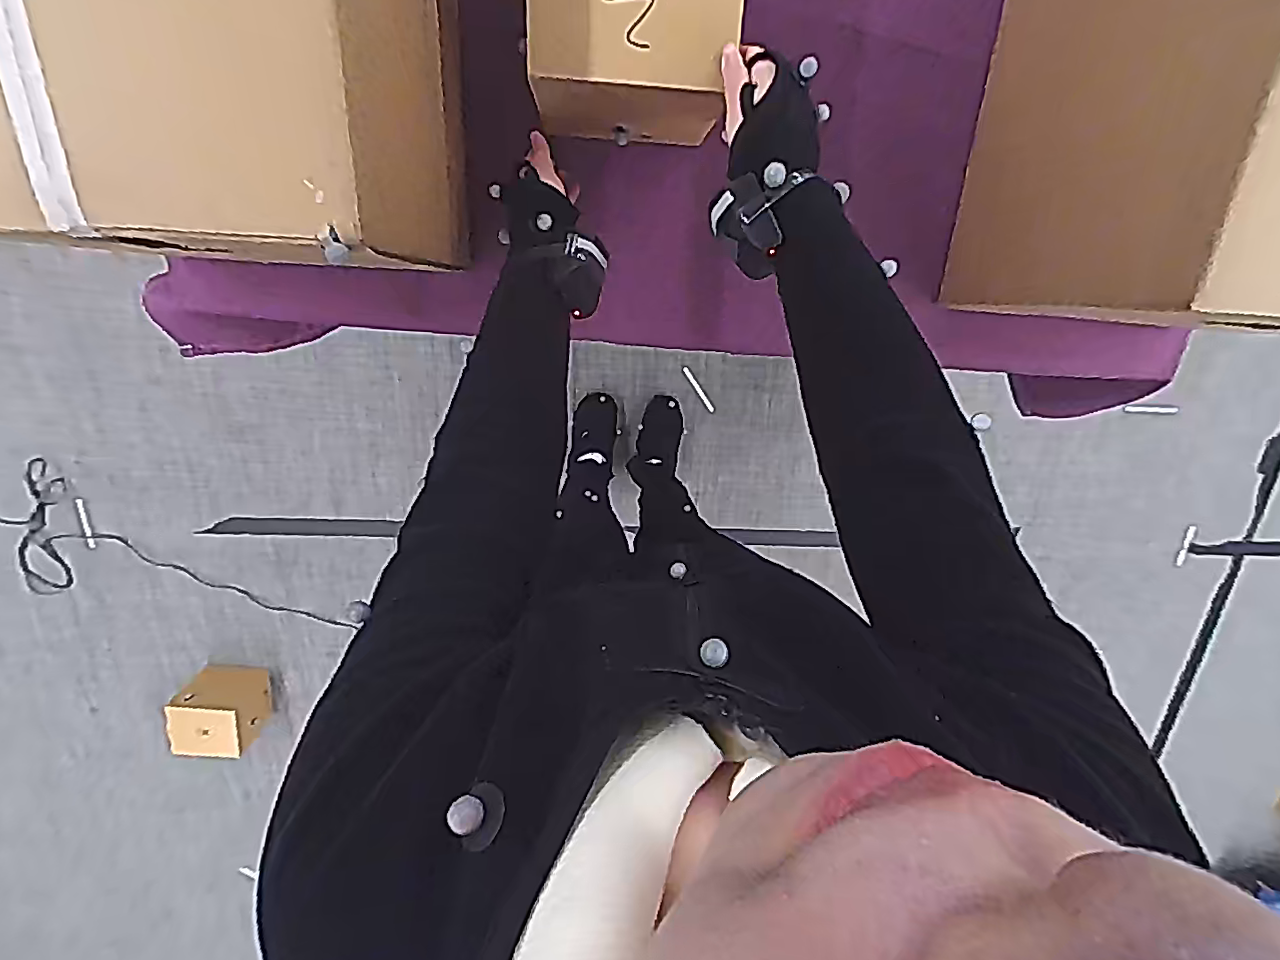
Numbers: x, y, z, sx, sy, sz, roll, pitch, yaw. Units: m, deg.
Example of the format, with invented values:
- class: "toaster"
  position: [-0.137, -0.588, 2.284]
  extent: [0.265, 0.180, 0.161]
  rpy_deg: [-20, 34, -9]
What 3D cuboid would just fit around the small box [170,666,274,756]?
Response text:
- class: "small box"
  position: [-1.166, 0.648, 1.527]
  extent: [0.179, 0.176, 0.168]
  rpy_deg: [7, 109, -6]
